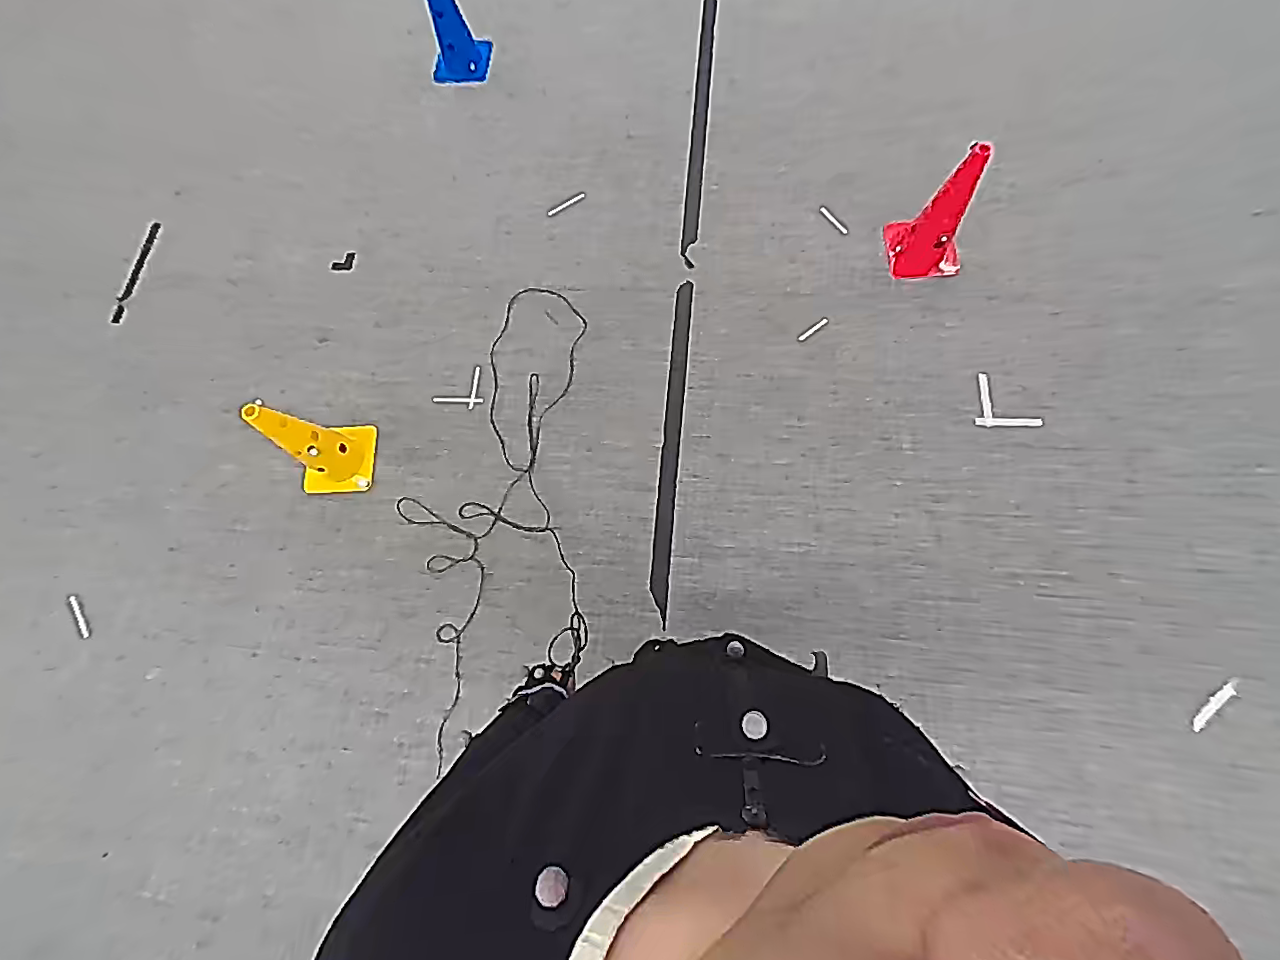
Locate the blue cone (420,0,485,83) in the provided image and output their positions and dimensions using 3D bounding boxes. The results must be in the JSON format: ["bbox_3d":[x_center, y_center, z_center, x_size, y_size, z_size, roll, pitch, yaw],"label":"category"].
[{"bbox_3d":[-0.676,-1.568,1.810,0.192,0.380,0.193,4,74,6],"label":"blue cone"}]

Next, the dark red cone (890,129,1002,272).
[{"bbox_3d":[0.835,-0.747,1.434,0.201,0.394,0.202,-4,74,4],"label":"dark red cone"}]
